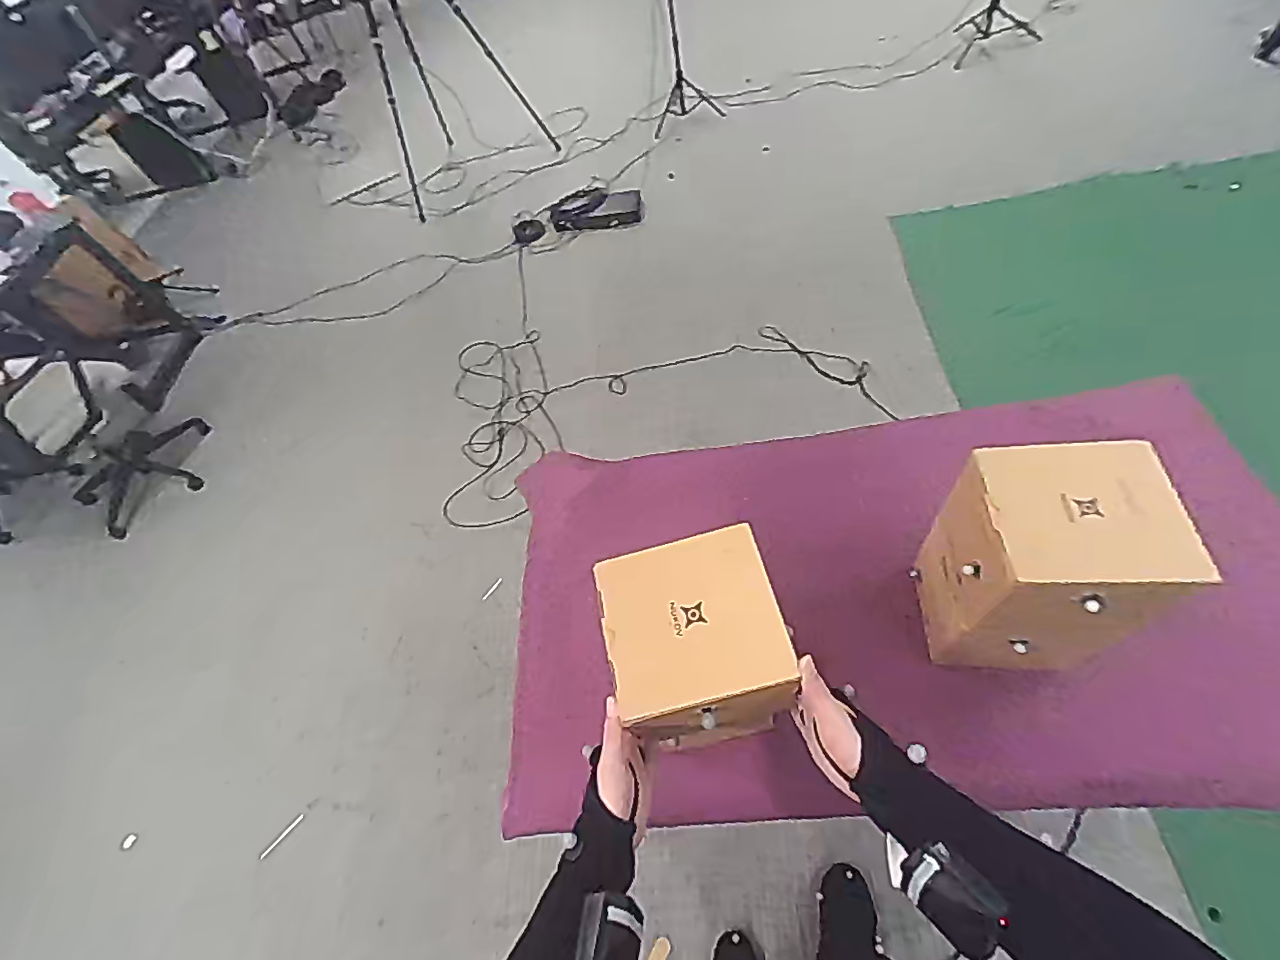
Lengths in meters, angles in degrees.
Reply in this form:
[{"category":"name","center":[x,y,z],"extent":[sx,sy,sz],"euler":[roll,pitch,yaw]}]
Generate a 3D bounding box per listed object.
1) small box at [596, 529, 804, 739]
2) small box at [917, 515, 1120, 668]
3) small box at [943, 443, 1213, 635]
[{"category":"small box","center":[0.066,0.179,0.603],"extent":[0.179,0.176,0.168],"euler":[-16,58,4]},{"category":"small box","center":[0.507,0.159,0.763],"extent":[0.179,0.176,0.168],"euler":[-1,57,12]},{"category":"small box","center":[0.473,0.075,0.628],"extent":[0.179,0.176,0.168],"euler":[-2,58,12]}]
